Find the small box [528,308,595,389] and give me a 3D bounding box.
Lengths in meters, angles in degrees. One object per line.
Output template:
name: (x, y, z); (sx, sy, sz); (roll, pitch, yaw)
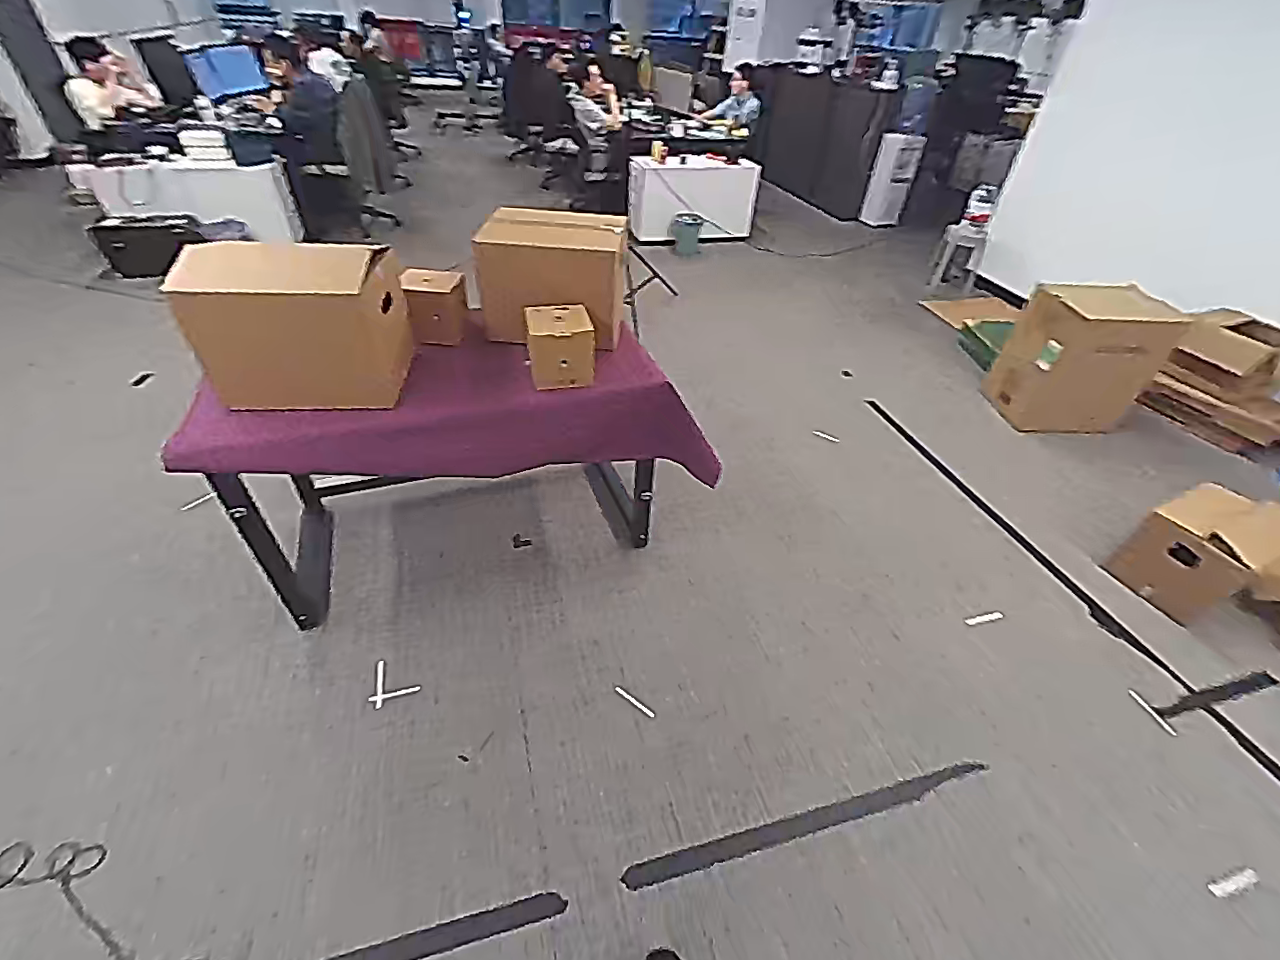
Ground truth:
small box: (-0.219, -0.366, 1.521); (0.168, 0.176, 0.179); (-7, 42, -12)
